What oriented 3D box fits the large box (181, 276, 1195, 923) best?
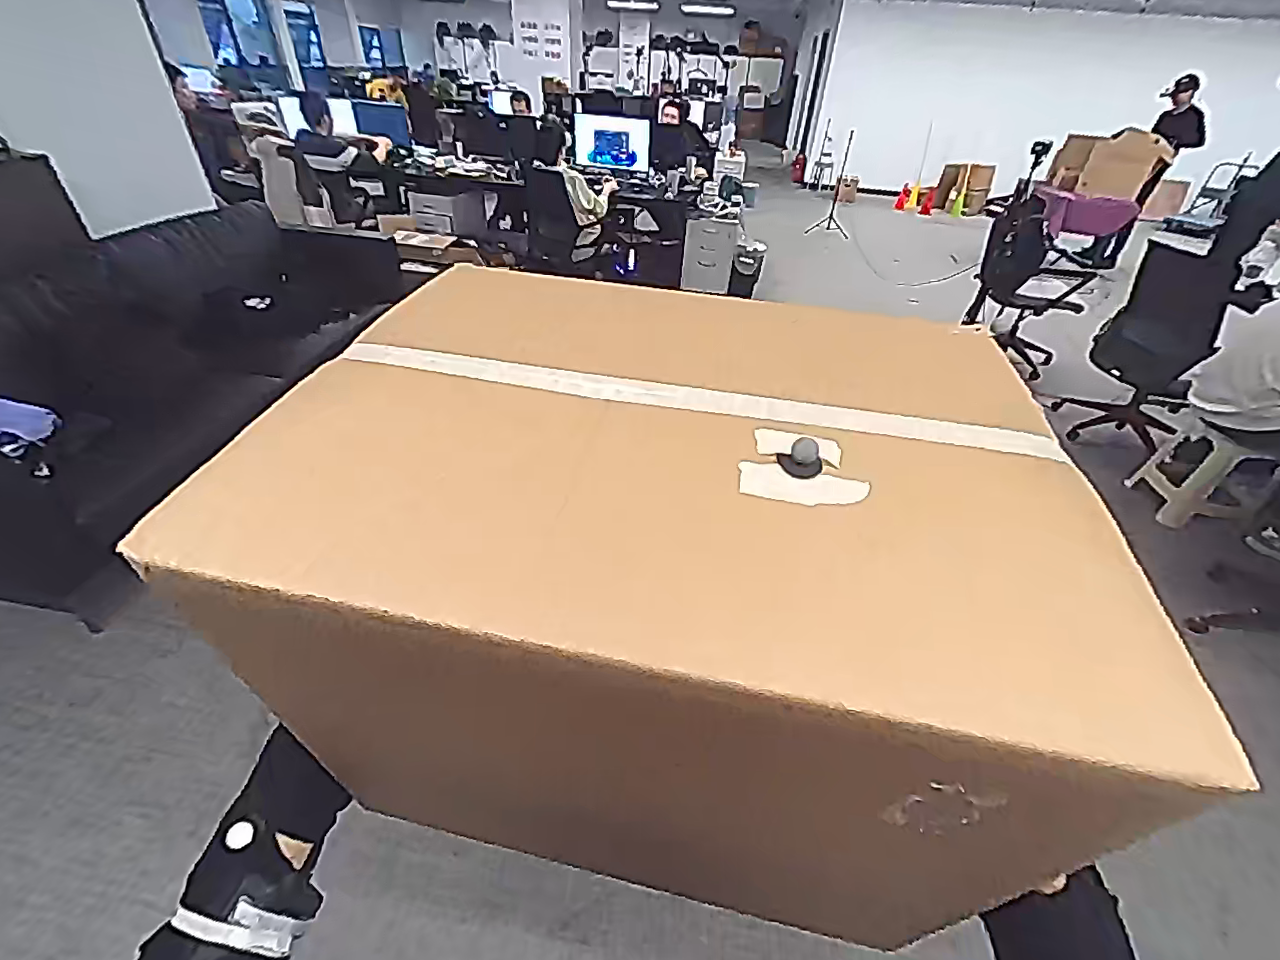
[{"bbox_3d":[0.018,0.073,0.413,0.408,0.320,0.320,10,43,7],"label":"large box"}]
